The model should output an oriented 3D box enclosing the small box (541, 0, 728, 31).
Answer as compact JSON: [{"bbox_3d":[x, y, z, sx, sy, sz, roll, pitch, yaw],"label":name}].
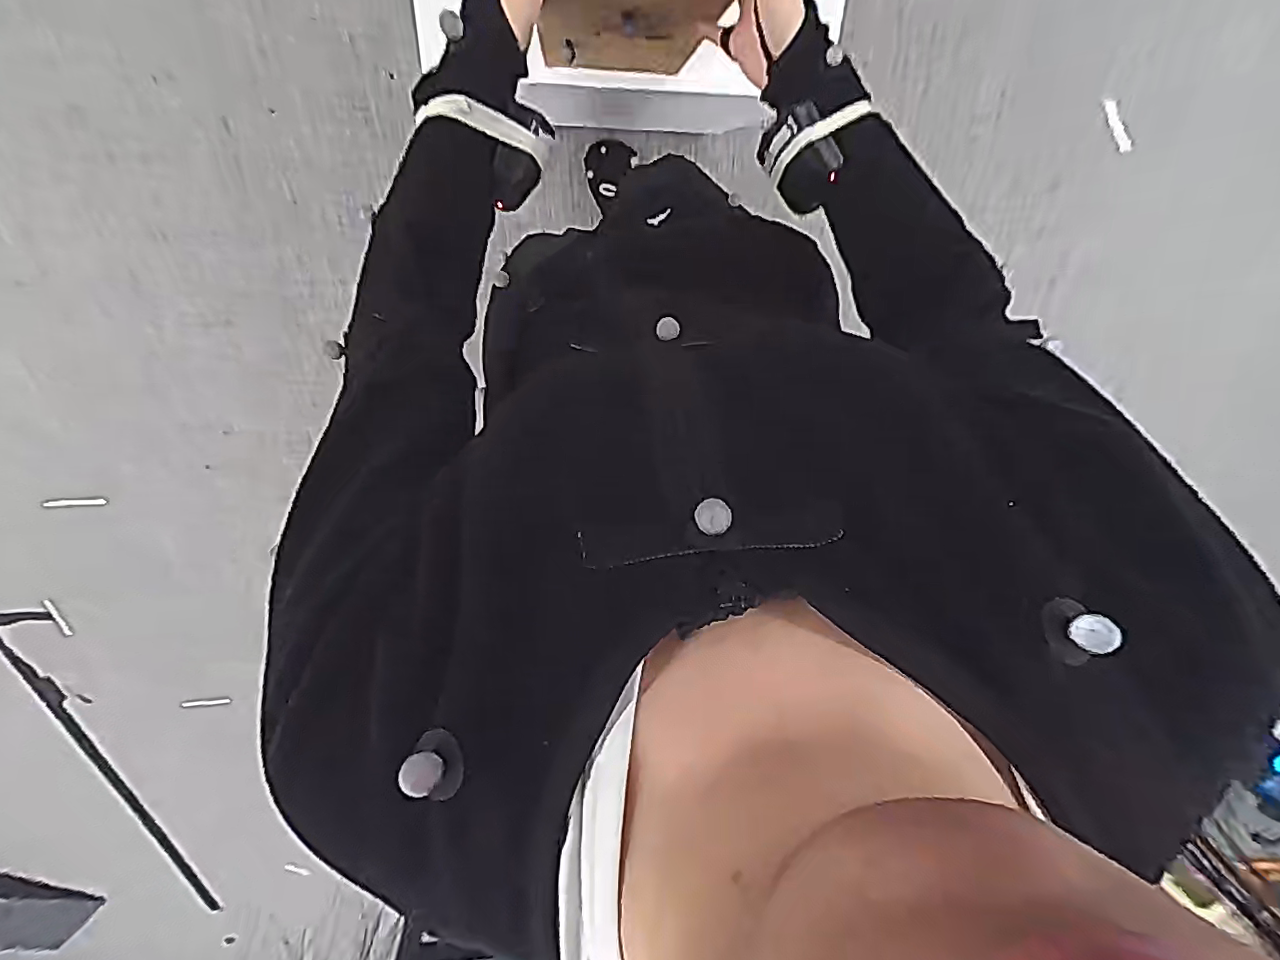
[{"bbox_3d":[-0.004,-0.472,0.405,0.168,0.176,0.179,-3,118,-5],"label":"small box"}]
